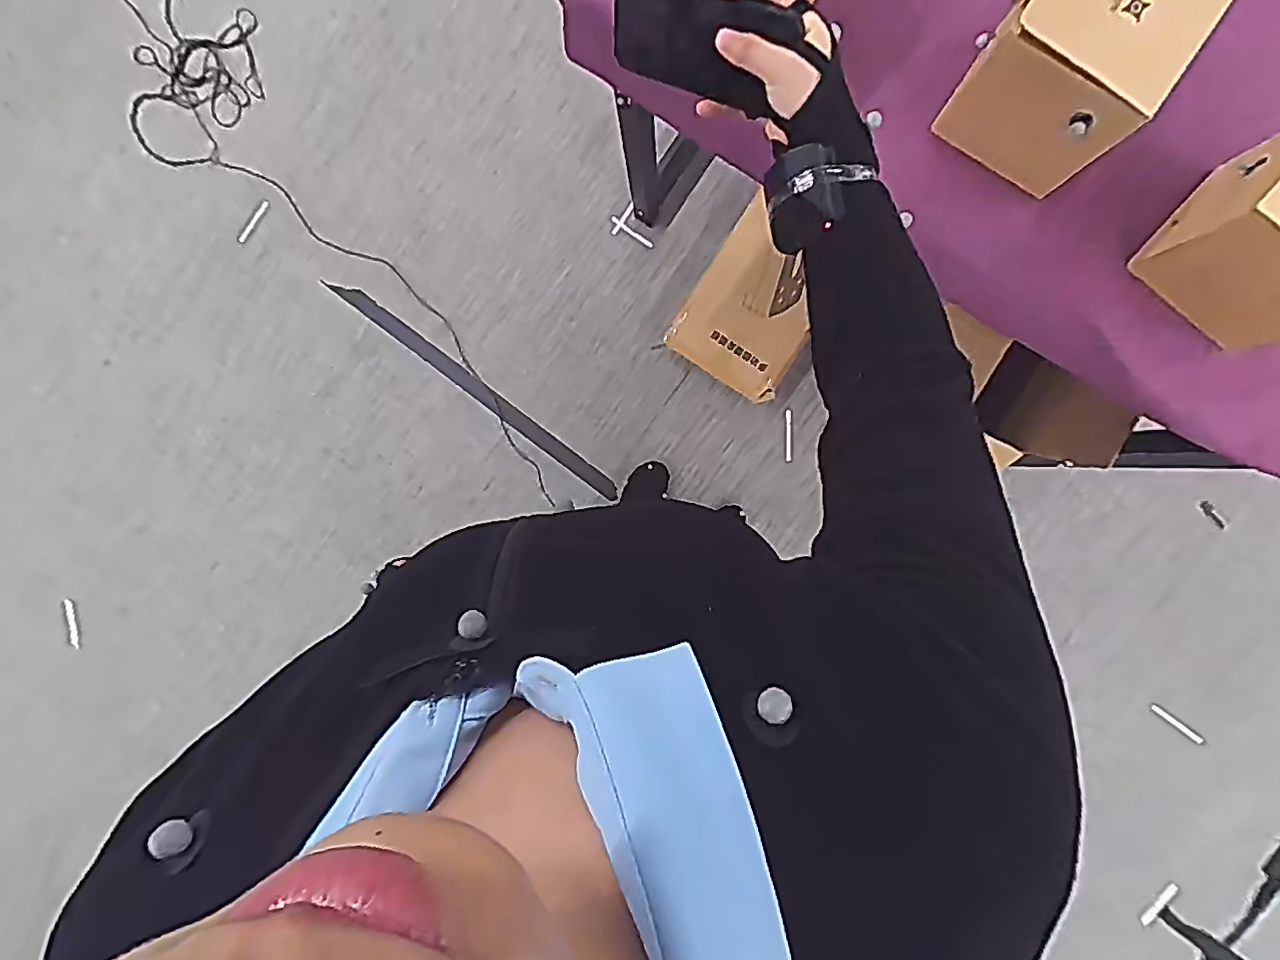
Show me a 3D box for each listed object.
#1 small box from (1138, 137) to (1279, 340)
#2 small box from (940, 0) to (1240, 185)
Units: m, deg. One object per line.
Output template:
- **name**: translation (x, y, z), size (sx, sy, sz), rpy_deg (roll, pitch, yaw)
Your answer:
- **small box**: translation (0.751, -0.285, 0.620), size (0.179, 0.176, 0.168), rpy_deg (41, 94, 1)
- **small box**: translation (0.501, -0.483, 0.628), size (0.179, 0.176, 0.168), rpy_deg (34, 91, 2)
